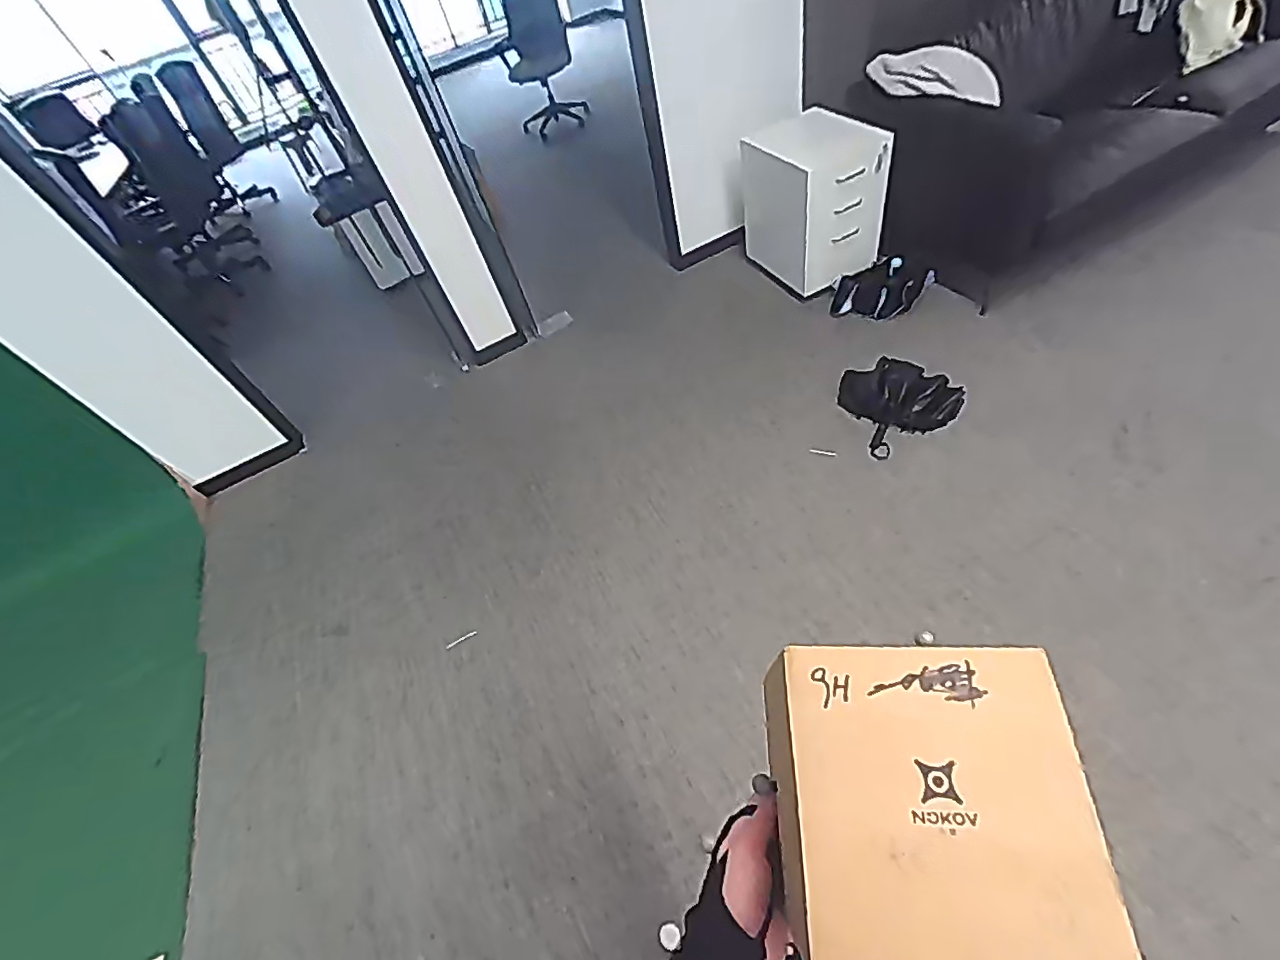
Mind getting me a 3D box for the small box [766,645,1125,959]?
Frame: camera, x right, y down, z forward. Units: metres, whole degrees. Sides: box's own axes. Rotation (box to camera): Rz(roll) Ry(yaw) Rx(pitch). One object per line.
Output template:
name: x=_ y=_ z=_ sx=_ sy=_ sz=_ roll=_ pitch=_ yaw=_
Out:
small box: x=0.184 y=0.224 z=0.391 sx=0.168 sy=0.176 sz=0.179 roll=-1 pitch=63 yaw=7
